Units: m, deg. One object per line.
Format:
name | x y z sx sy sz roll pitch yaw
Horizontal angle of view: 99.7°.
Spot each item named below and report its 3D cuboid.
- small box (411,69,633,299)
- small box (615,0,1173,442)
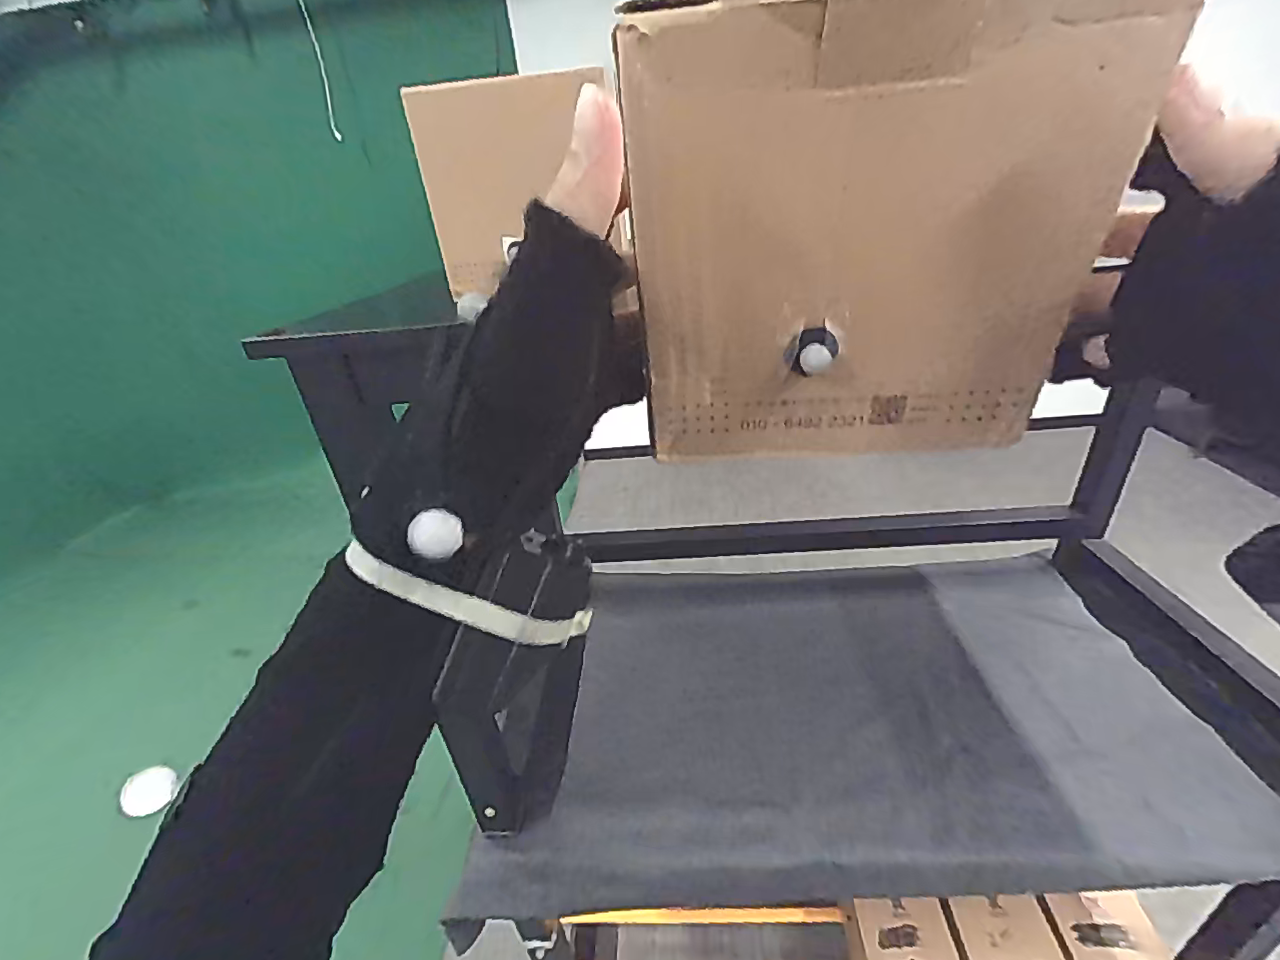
small box | -0.099 -0.284 0.543 0.168 0.176 0.179 -6 28 2
small box | 0.083 -0.135 0.270 0.168 0.176 0.179 -3 39 5
